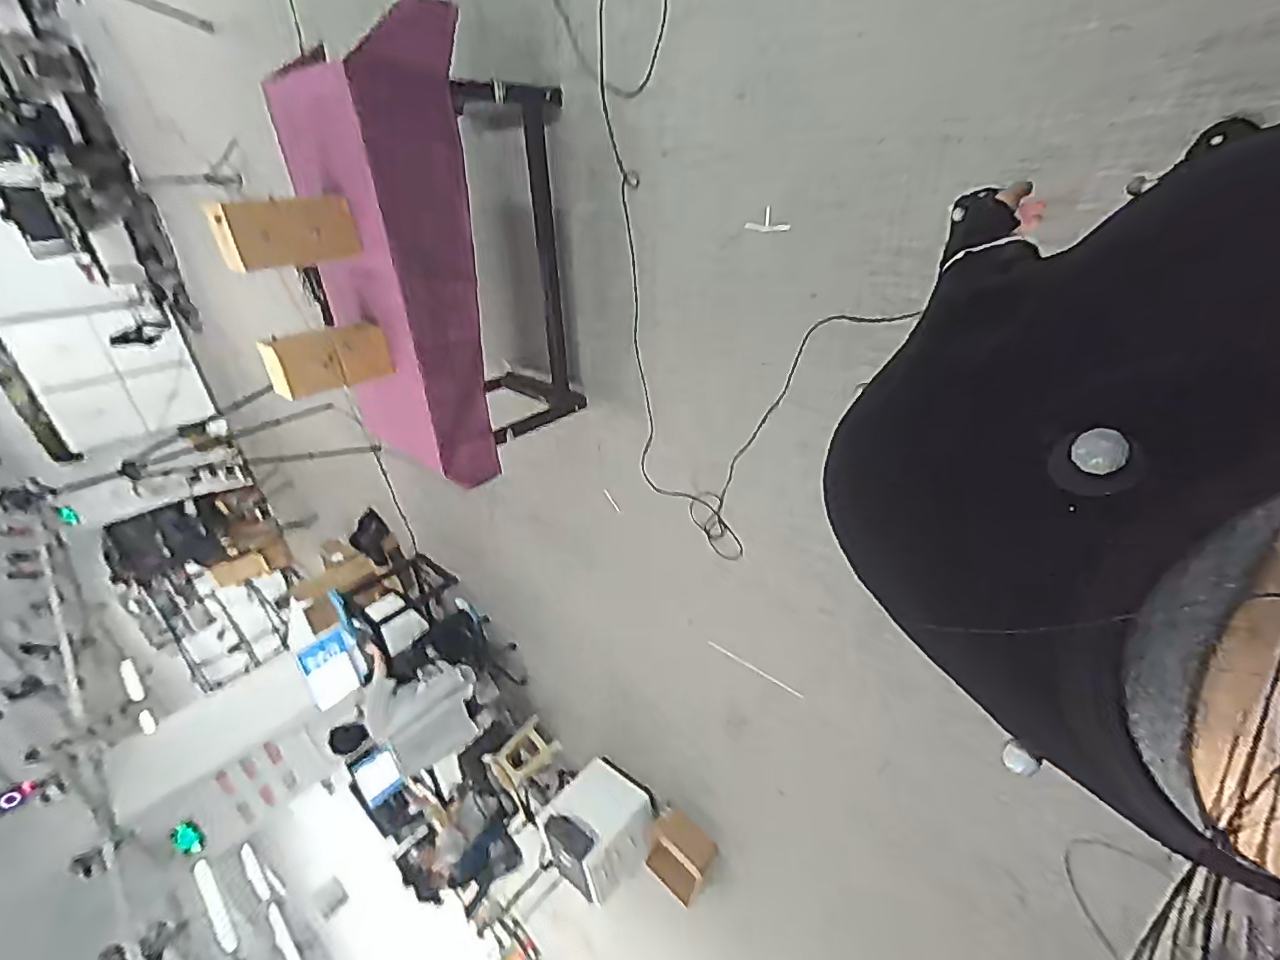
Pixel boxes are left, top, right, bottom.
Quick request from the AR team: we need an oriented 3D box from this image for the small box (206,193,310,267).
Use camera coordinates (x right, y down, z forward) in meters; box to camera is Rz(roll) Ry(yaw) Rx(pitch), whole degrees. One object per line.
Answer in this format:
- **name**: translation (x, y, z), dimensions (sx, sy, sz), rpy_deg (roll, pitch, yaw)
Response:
- **small box**: translation (-1.085, -0.720, 1.545), dimensions (0.168, 0.176, 0.179), rpy_deg (23, 129, 36)

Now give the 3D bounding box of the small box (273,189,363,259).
- **small box**: translation (-0.975, -0.784, 1.649), dimensions (0.168, 0.176, 0.179), rpy_deg (23, 128, 35)

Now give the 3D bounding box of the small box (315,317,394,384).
- **small box**: translation (-0.971, -0.448, 1.851), dimensions (0.168, 0.176, 0.179), rpy_deg (22, 127, 37)

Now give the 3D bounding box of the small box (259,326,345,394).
- **small box**: translation (-1.085, -0.393, 1.745), dimensions (0.179, 0.176, 0.168), rpy_deg (23, 128, 37)
